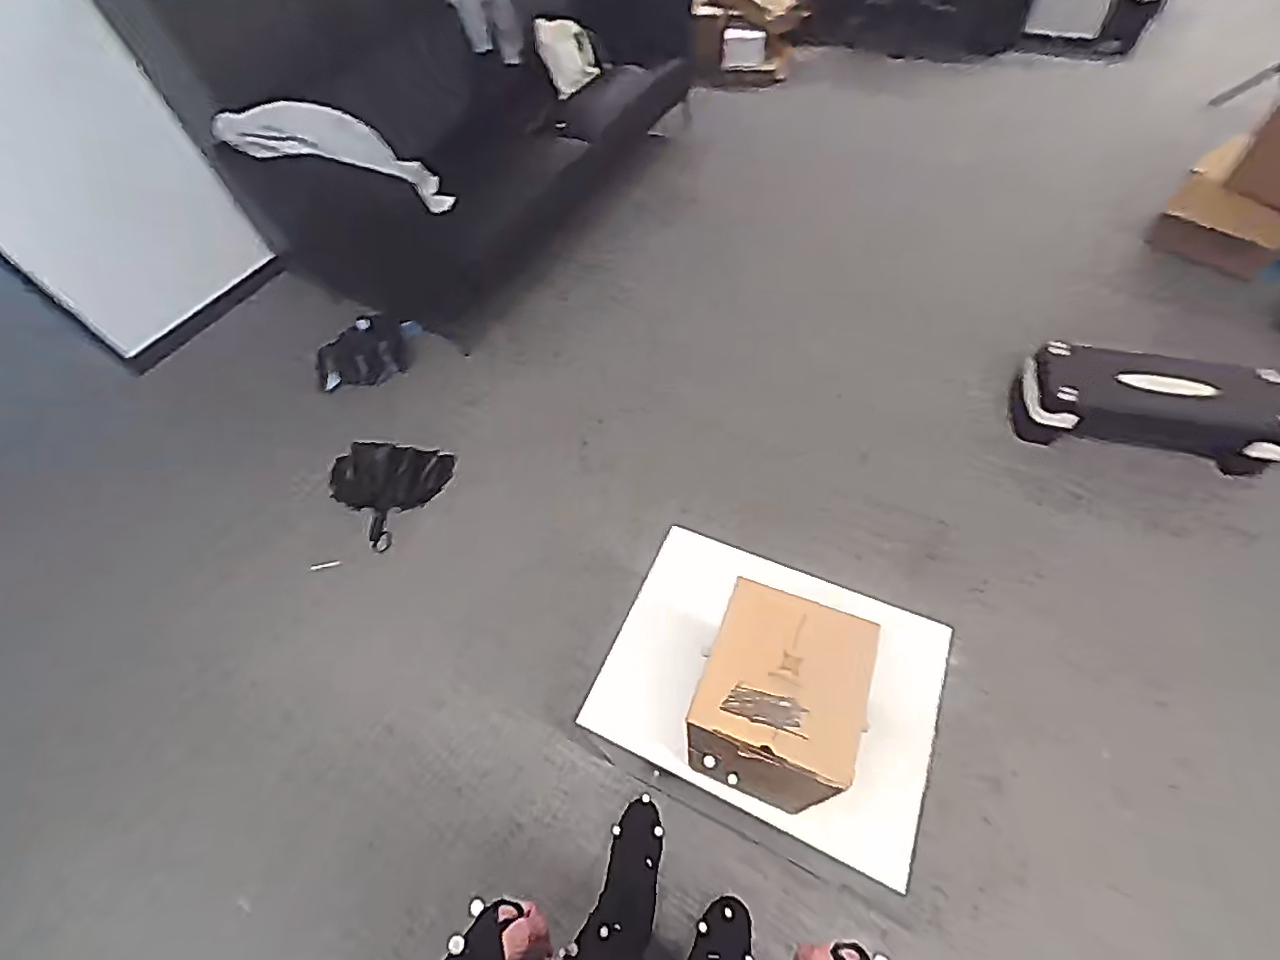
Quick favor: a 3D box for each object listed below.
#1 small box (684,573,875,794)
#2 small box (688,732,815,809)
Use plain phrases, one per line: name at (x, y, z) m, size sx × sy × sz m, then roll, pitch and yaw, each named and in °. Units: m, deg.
small box at (0.160, 0.246, 0.643) m, size 0.168 × 0.176 × 0.179 m, roll 17°, pitch 57°, yaw 16°
small box at (0.171, 0.341, 0.777) m, size 0.168 × 0.176 × 0.179 m, roll 16°, pitch 57°, yaw 17°
